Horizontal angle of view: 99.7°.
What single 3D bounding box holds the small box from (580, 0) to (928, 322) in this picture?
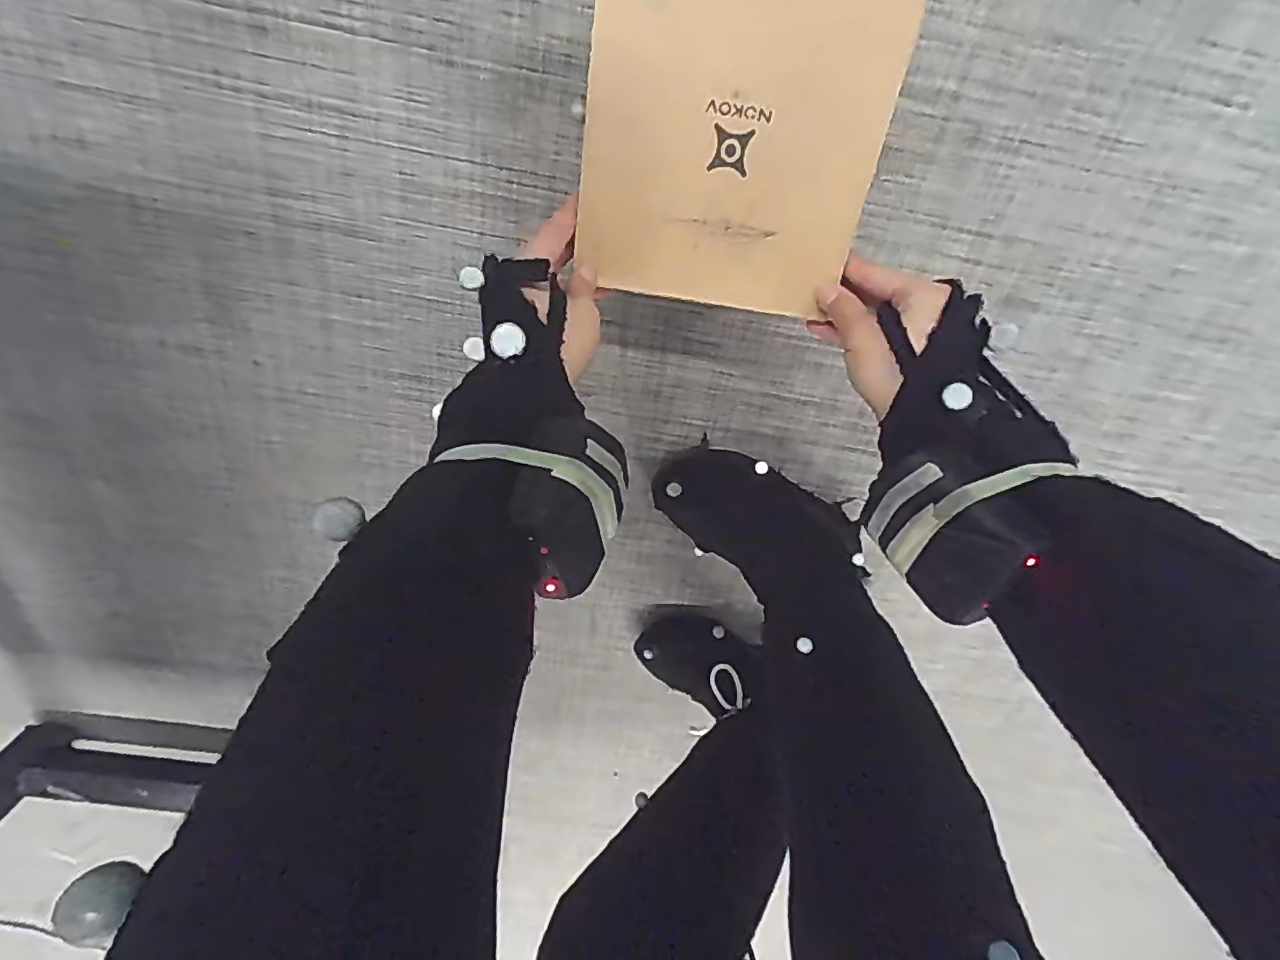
[{"bbox_3d":[0.057,-0.225,0.374,0.168,0.176,0.179,8,119,-1],"label":"small box"}]
